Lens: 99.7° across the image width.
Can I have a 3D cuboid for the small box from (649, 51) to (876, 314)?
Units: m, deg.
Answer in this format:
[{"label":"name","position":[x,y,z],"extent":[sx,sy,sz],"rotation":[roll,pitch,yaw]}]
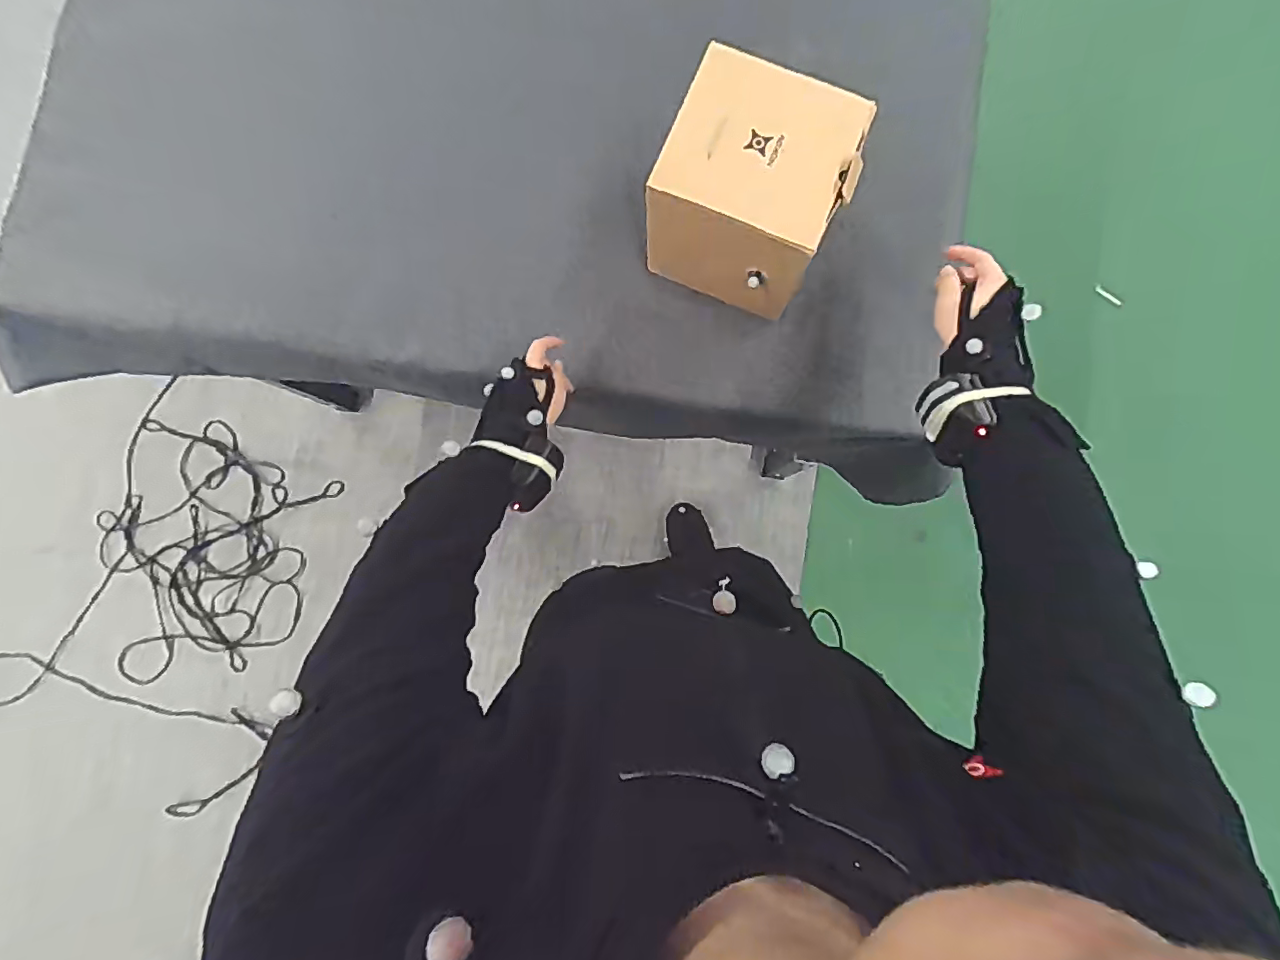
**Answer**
[{"label":"small box","position":[0.121,-0.308,0.599],"extent":[0.179,0.176,0.168],"rotation":[23,84,5]}]
